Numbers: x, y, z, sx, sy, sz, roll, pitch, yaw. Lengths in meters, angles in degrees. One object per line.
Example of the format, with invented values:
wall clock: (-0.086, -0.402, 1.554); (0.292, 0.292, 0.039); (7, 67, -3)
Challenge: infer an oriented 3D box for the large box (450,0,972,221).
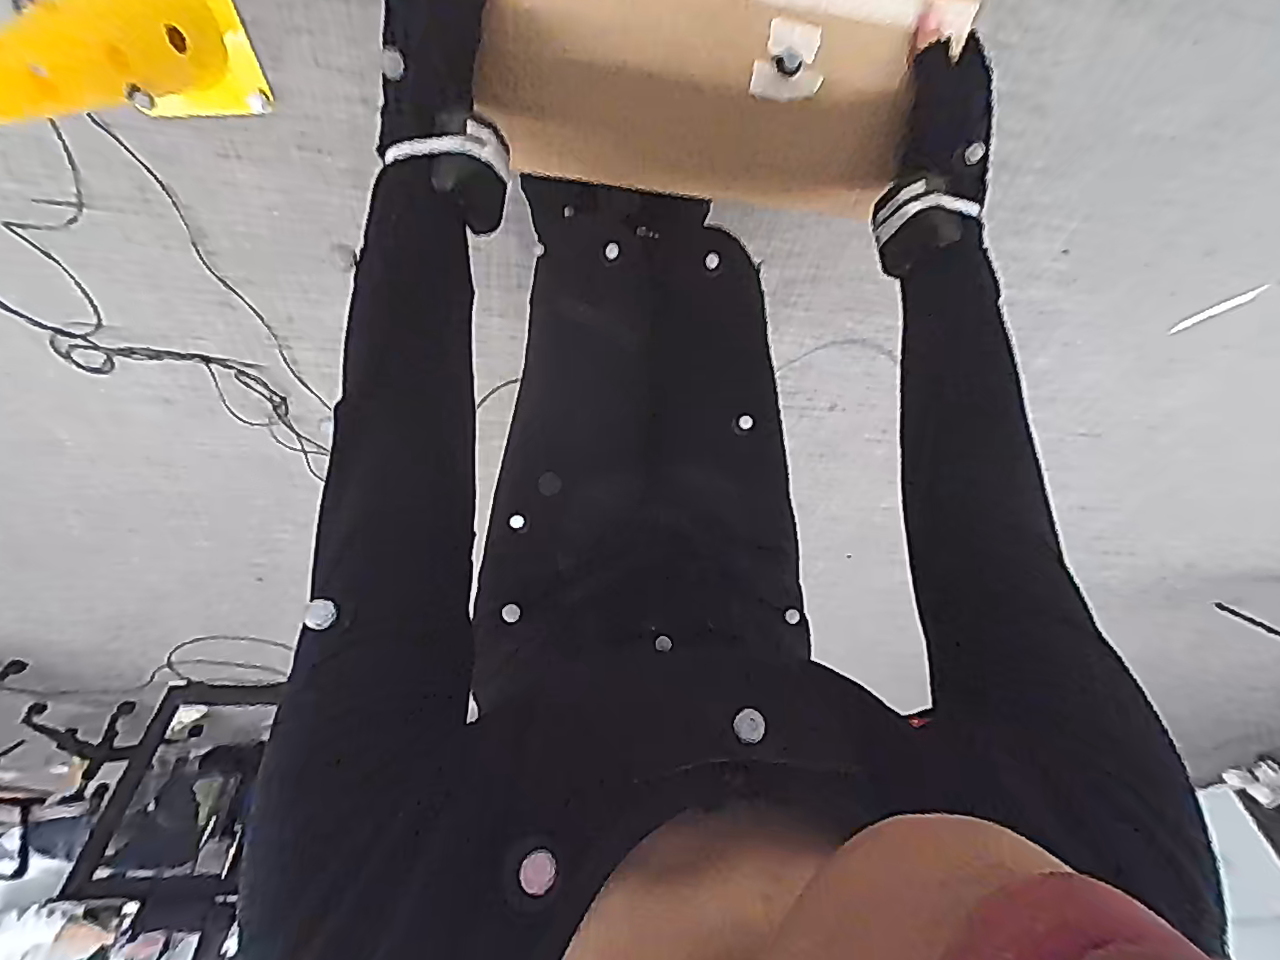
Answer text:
large box: (0.049, -0.477, 0.507); (0.408, 0.320, 0.320); (4, 136, -8)
